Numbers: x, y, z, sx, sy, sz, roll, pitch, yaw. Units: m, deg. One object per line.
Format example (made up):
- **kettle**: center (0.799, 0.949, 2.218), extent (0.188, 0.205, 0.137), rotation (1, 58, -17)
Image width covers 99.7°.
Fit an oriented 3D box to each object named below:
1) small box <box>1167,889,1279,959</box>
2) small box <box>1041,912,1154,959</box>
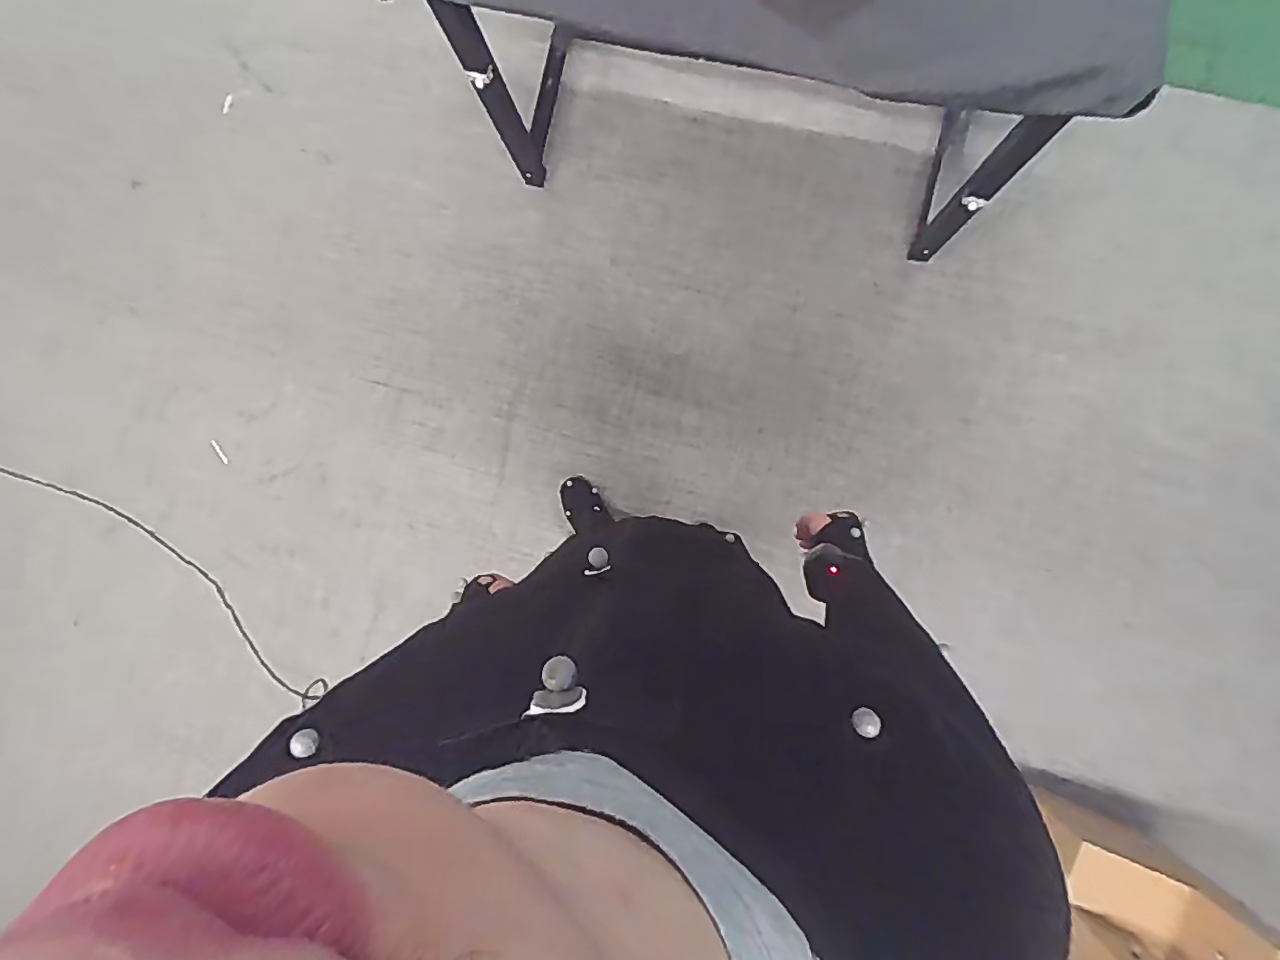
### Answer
- **small box**: center (1.191, 0.958, 1.045), extent (0.168, 0.176, 0.179), rotation (24, 87, 4)
- **small box**: center (0.934, 1.012, 1.060), extent (0.168, 0.176, 0.179), rotation (24, 91, 4)
